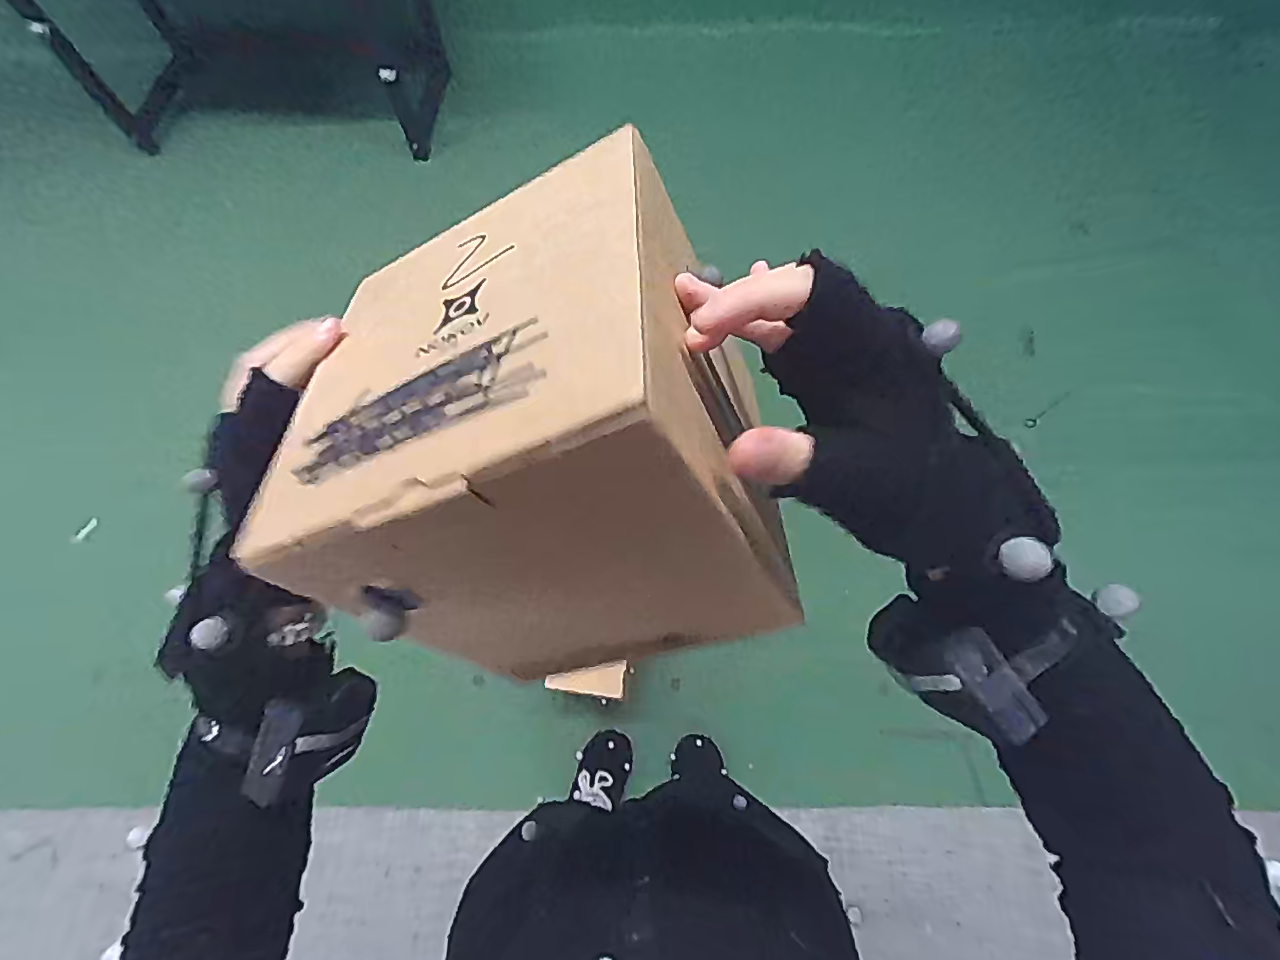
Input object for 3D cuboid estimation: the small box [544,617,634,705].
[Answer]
[{"bbox_3d":[-0.114,0.435,1.286,0.179,0.176,0.168,6,65,4],"label":"small box"}]
